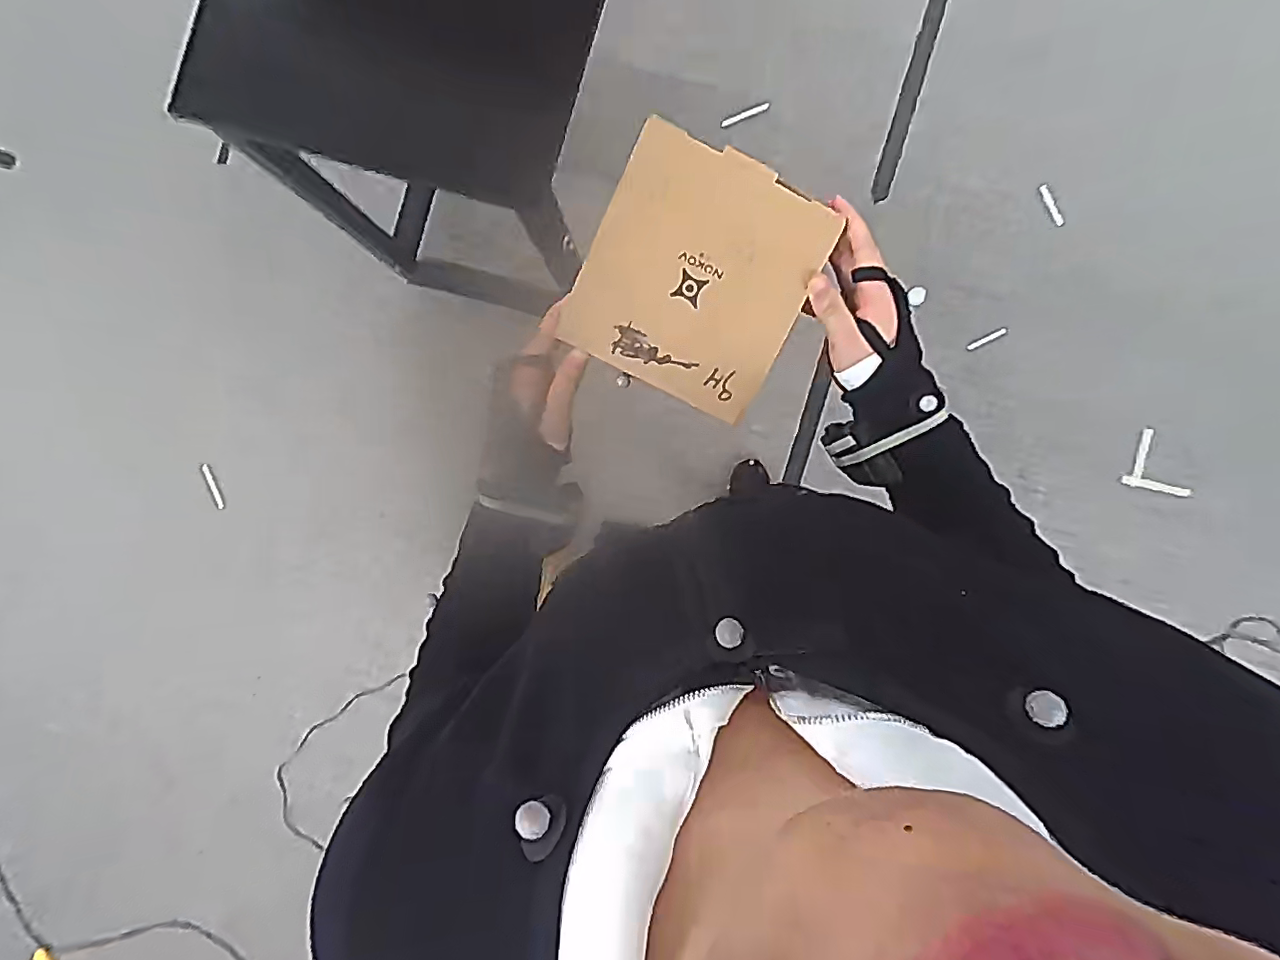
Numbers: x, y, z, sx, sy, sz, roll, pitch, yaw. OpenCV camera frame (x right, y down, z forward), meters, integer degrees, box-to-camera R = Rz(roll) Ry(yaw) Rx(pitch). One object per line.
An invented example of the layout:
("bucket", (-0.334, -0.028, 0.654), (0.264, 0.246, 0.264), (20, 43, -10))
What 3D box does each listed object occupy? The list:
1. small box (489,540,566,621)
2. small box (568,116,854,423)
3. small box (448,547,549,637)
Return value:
("small box", (-0.311, 0.260, 1.448), (0.179, 0.176, 0.168), (13, 90, 3))
("small box", (0.054, -0.170, 0.492), (0.168, 0.176, 0.179), (27, 100, -2))
("small box", (-0.328, 0.258, 1.286), (0.179, 0.176, 0.168), (9, 89, 5))
